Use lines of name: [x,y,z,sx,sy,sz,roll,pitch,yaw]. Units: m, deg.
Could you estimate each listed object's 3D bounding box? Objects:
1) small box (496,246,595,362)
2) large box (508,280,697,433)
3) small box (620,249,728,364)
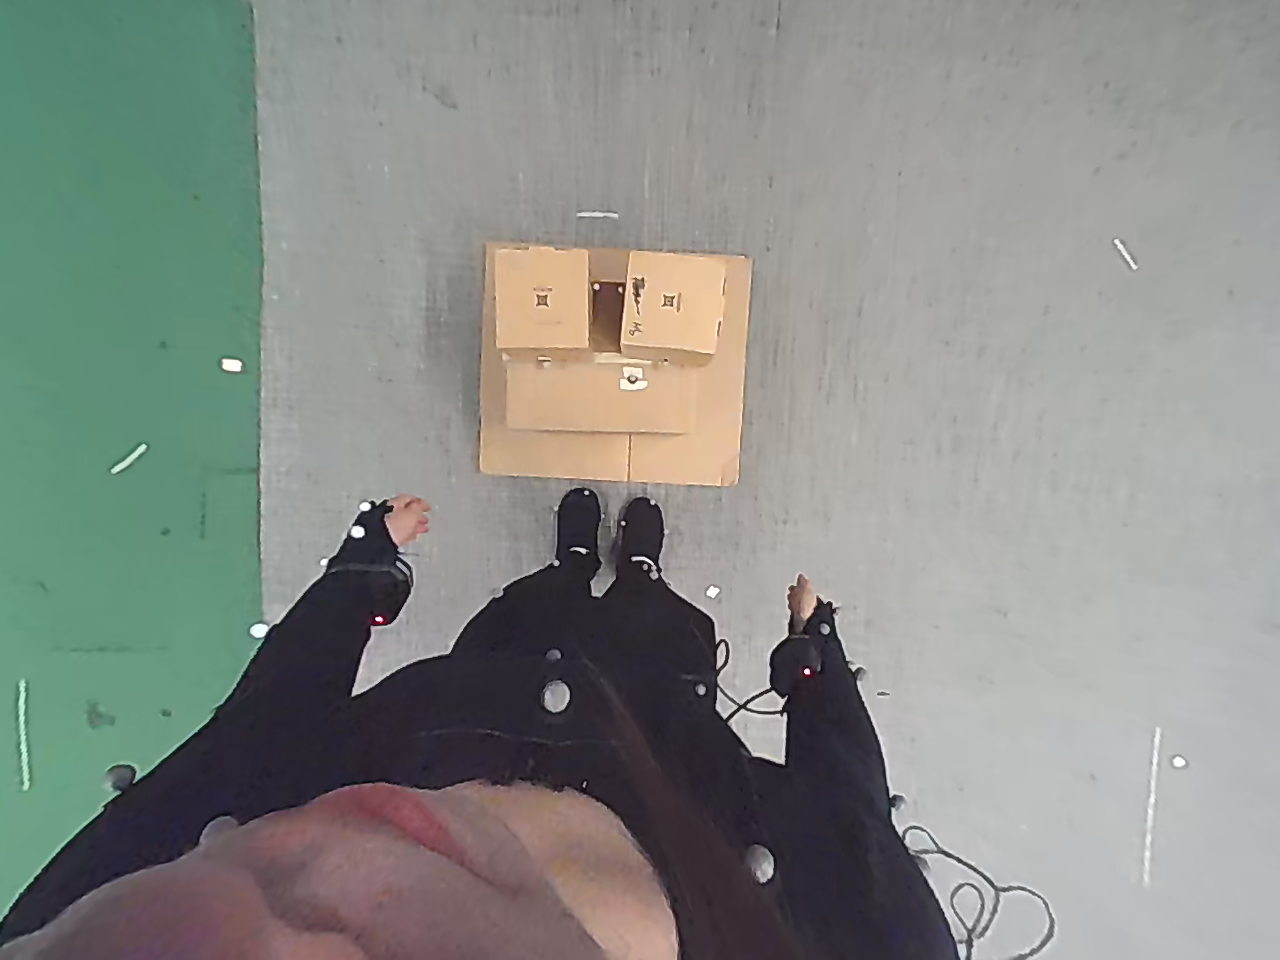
small box: [-0.174,-0.327,1.029,0.168,0.176,0.179,-1,94,-1]
large box: [-0.085,-0.271,1.279,0.408,0.320,0.320,1,94,-3]
small box: [0.058,-0.320,1.033,0.179,0.176,0.168,6,94,-1]
